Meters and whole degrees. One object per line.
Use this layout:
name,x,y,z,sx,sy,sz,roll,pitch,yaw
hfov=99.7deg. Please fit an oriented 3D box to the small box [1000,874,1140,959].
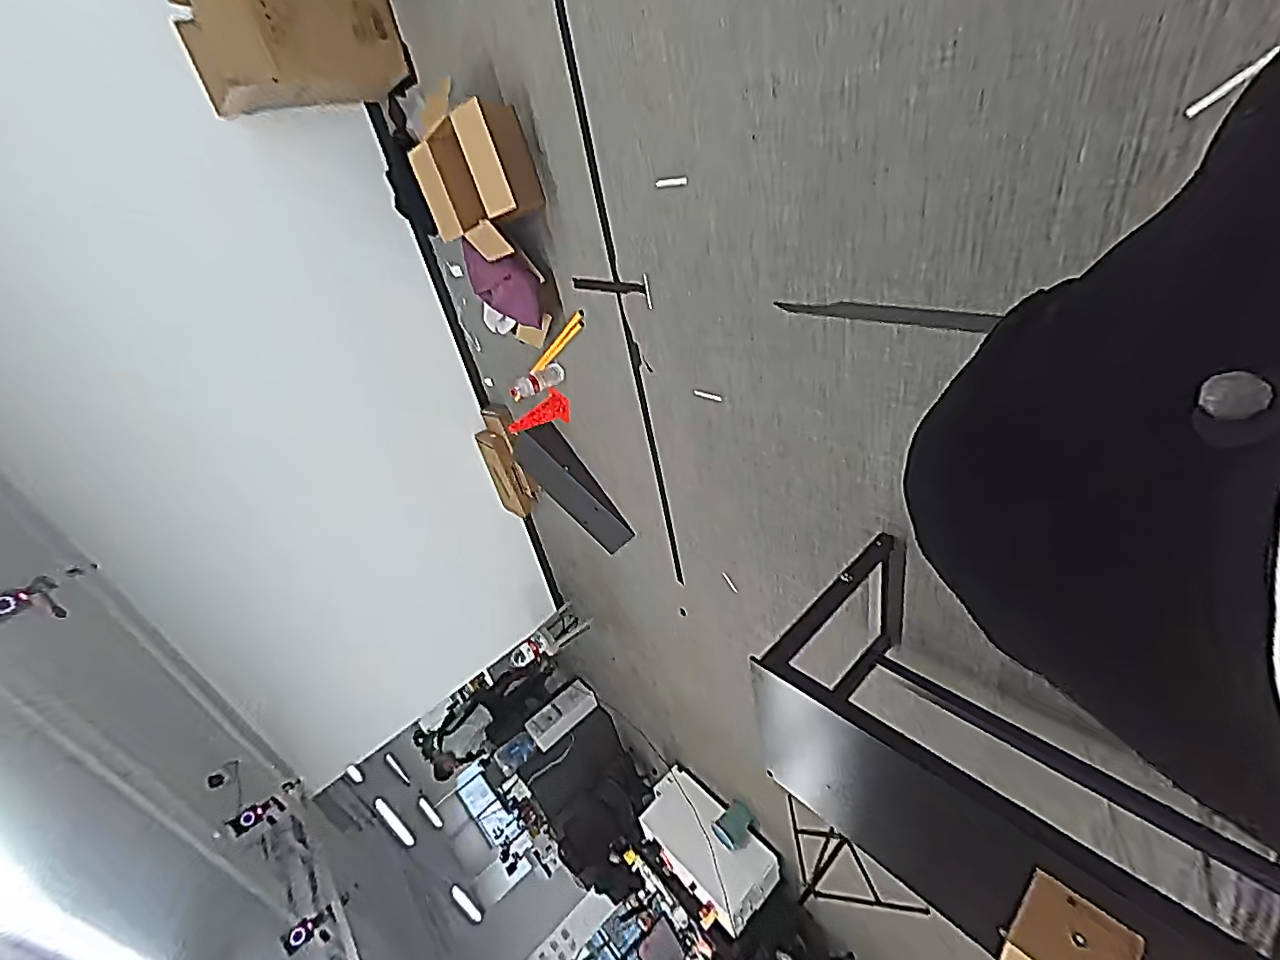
small box,0.821,0.916,1.040,0.168,0.176,0.179,24,137,45
